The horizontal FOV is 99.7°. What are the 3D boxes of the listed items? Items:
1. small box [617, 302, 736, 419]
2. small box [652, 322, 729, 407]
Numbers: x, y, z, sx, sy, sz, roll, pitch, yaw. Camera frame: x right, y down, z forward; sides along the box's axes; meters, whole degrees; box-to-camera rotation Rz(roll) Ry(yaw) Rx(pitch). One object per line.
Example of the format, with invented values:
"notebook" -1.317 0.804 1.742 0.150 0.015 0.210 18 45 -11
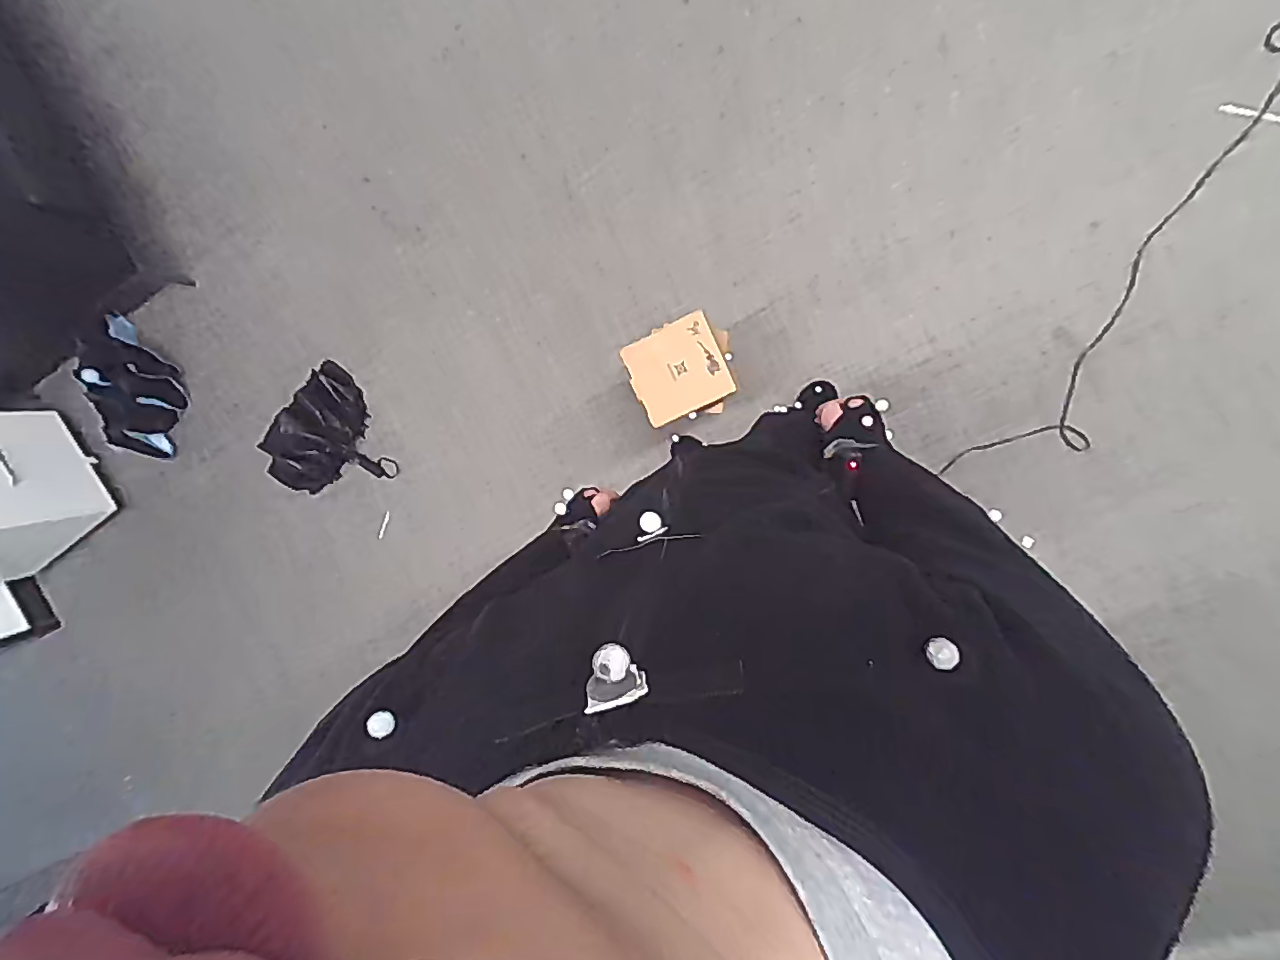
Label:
"small box" 0.082 -0.234 1.087 0.179 0.176 0.168 -23 95 16
"small box" 0.115 -0.265 1.245 0.168 0.176 0.179 5 103 12
